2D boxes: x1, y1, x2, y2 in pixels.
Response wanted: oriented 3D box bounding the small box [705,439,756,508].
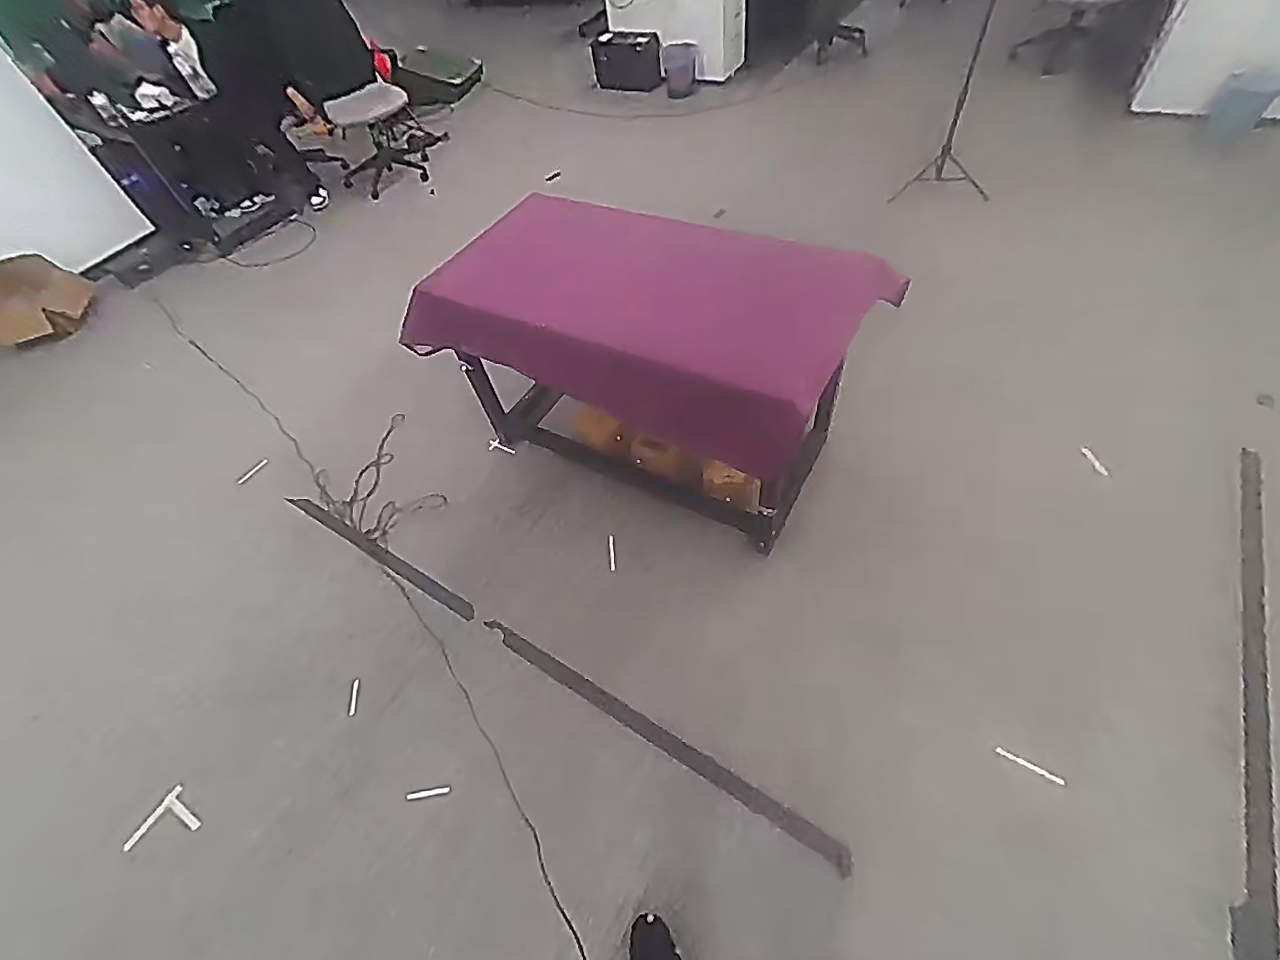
[{"bbox_3d":[0.313,-0.022,1.890,0.168,0.176,0.179,-3,53,8],"label":"small box"}]
